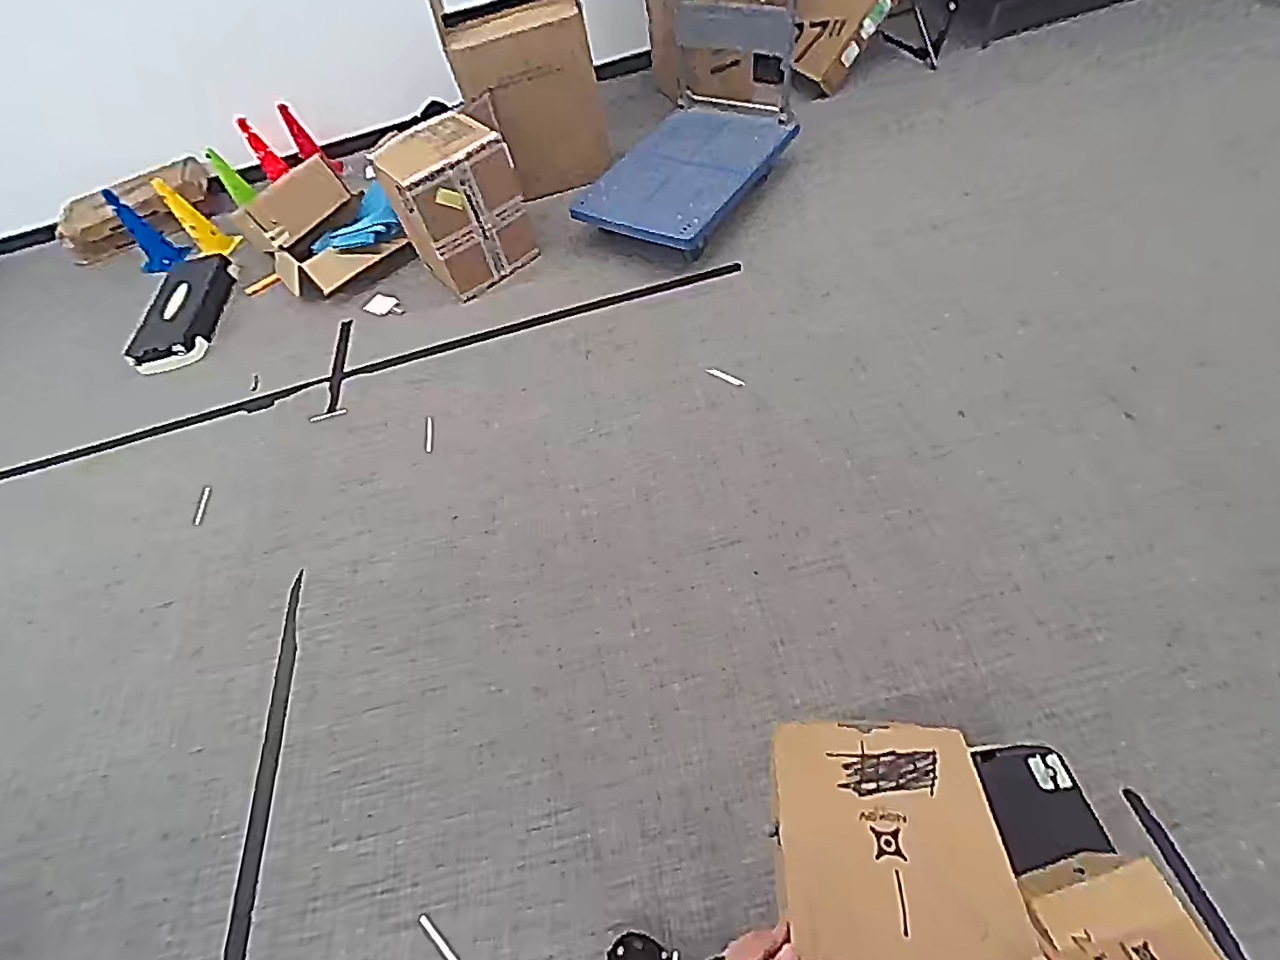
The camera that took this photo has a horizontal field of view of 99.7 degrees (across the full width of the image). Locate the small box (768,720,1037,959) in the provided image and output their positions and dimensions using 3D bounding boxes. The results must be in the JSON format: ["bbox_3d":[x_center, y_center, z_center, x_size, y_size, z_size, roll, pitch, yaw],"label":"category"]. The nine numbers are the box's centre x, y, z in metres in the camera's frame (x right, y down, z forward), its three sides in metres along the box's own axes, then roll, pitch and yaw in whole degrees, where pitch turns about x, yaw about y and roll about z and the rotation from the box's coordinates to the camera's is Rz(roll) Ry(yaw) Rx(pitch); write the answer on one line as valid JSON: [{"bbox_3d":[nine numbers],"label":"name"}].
[{"bbox_3d":[0.202,0.341,0.476,0.168,0.176,0.179,-3,36,10],"label":"small box"}]

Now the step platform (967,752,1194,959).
[{"bbox_3d":[0.691,0.803,0.833,0.286,0.204,0.684,-15,55,1],"label":"step platform"}]
